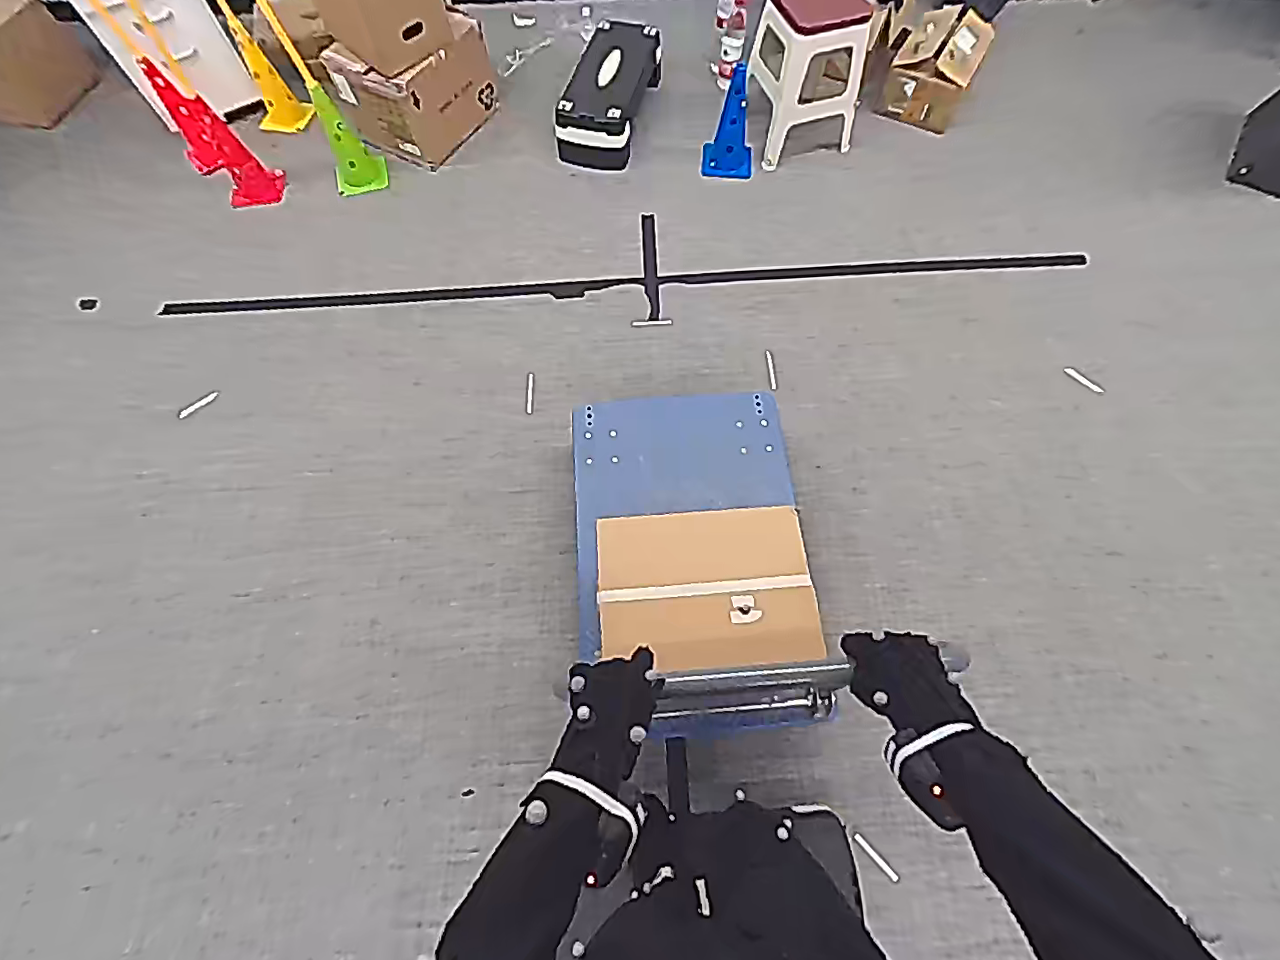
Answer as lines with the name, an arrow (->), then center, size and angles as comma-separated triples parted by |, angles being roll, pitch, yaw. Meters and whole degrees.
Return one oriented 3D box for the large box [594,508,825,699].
large box -> 0.119, 0.274, 1.150 | 0.408, 0.320, 0.320 | -4, 66, -2
